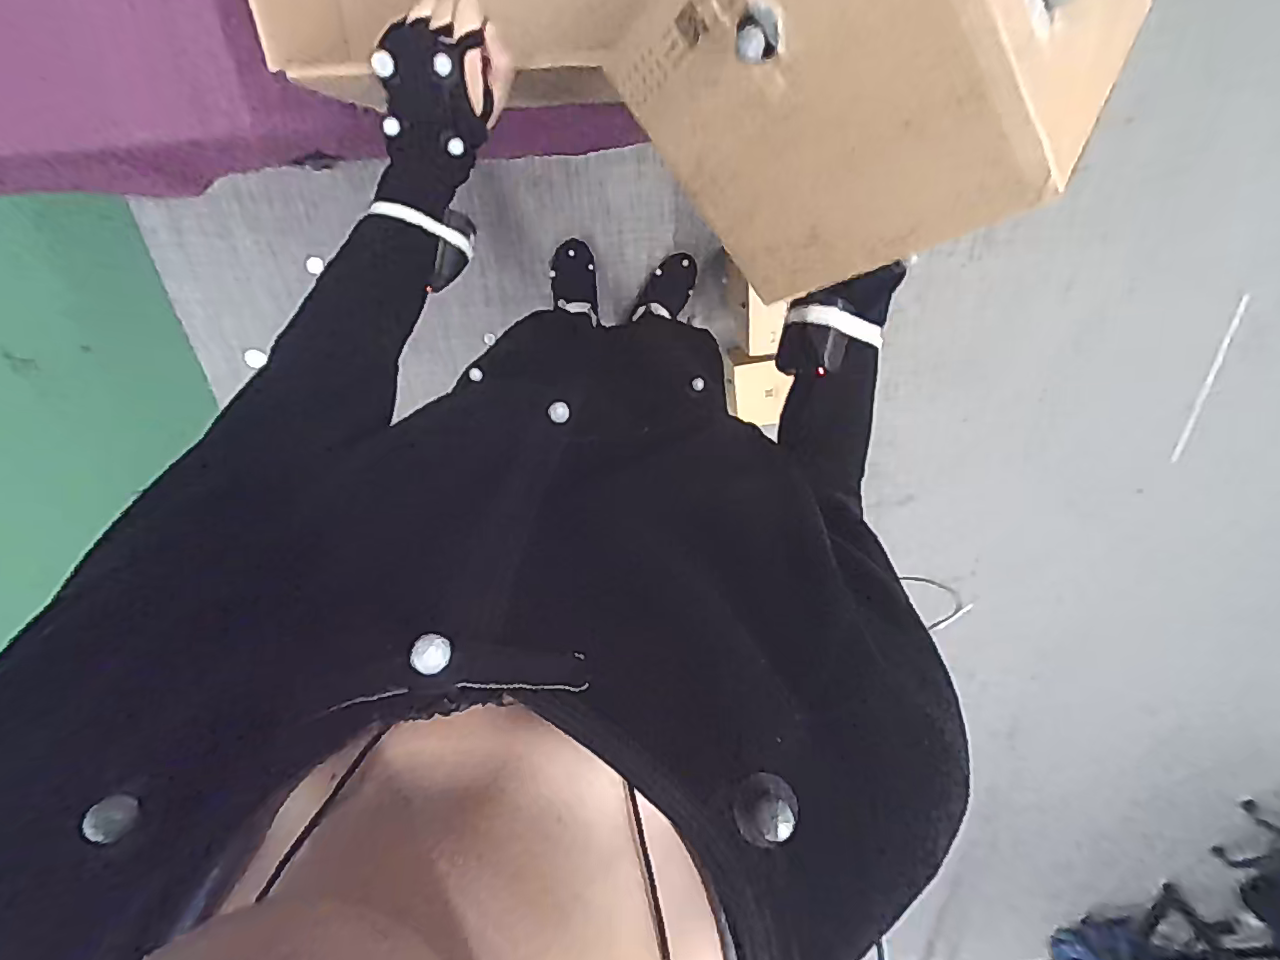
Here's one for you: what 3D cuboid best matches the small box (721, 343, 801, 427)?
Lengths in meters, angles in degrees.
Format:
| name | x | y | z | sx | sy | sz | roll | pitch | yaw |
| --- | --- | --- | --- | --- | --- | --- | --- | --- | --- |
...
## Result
| name | x | y | z | sx | sy | sz | roll | pitch | yaw |
| --- | --- | --- | --- | --- | --- | --- | --- | --- | --- |
| small box | 0.309 | -0.251 | 1.409 | 0.179 | 0.176 | 0.168 | -8 | 117 | 1 |
